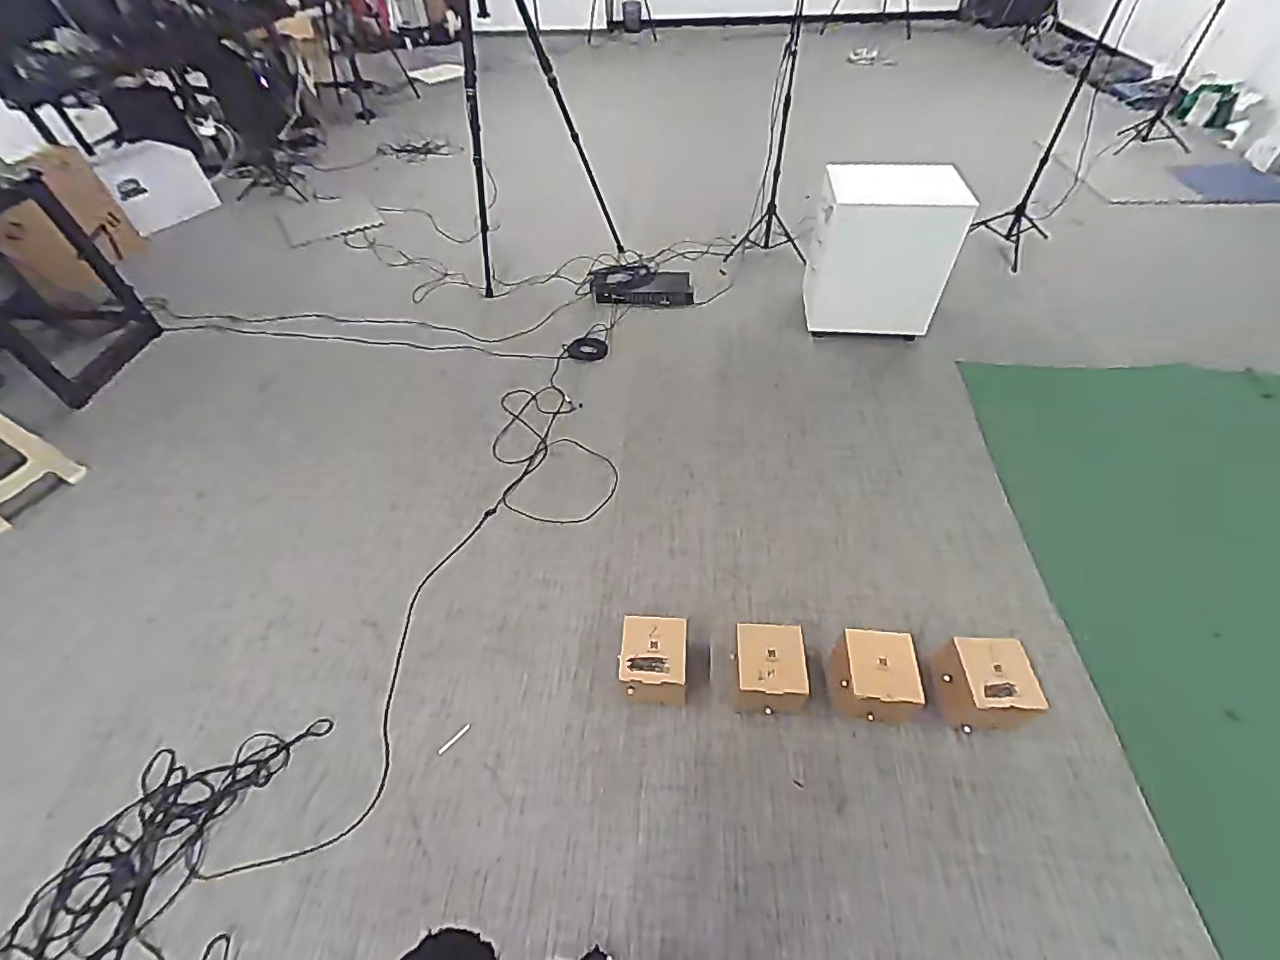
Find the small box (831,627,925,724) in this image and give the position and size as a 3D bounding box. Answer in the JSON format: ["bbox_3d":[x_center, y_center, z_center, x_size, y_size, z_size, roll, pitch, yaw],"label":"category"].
[{"bbox_3d":[0.596,0.500,1.382,0.168,0.176,0.179,4,50,6],"label":"small box"}]

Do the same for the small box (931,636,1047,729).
[{"bbox_3d":[0.864,0.512,1.358,0.168,0.176,0.179,2,49,4],"label":"small box"}]

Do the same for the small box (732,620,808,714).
[{"bbox_3d":[0.329,0.486,1.402,0.168,0.176,0.179,2,50,5],"label":"small box"}]
